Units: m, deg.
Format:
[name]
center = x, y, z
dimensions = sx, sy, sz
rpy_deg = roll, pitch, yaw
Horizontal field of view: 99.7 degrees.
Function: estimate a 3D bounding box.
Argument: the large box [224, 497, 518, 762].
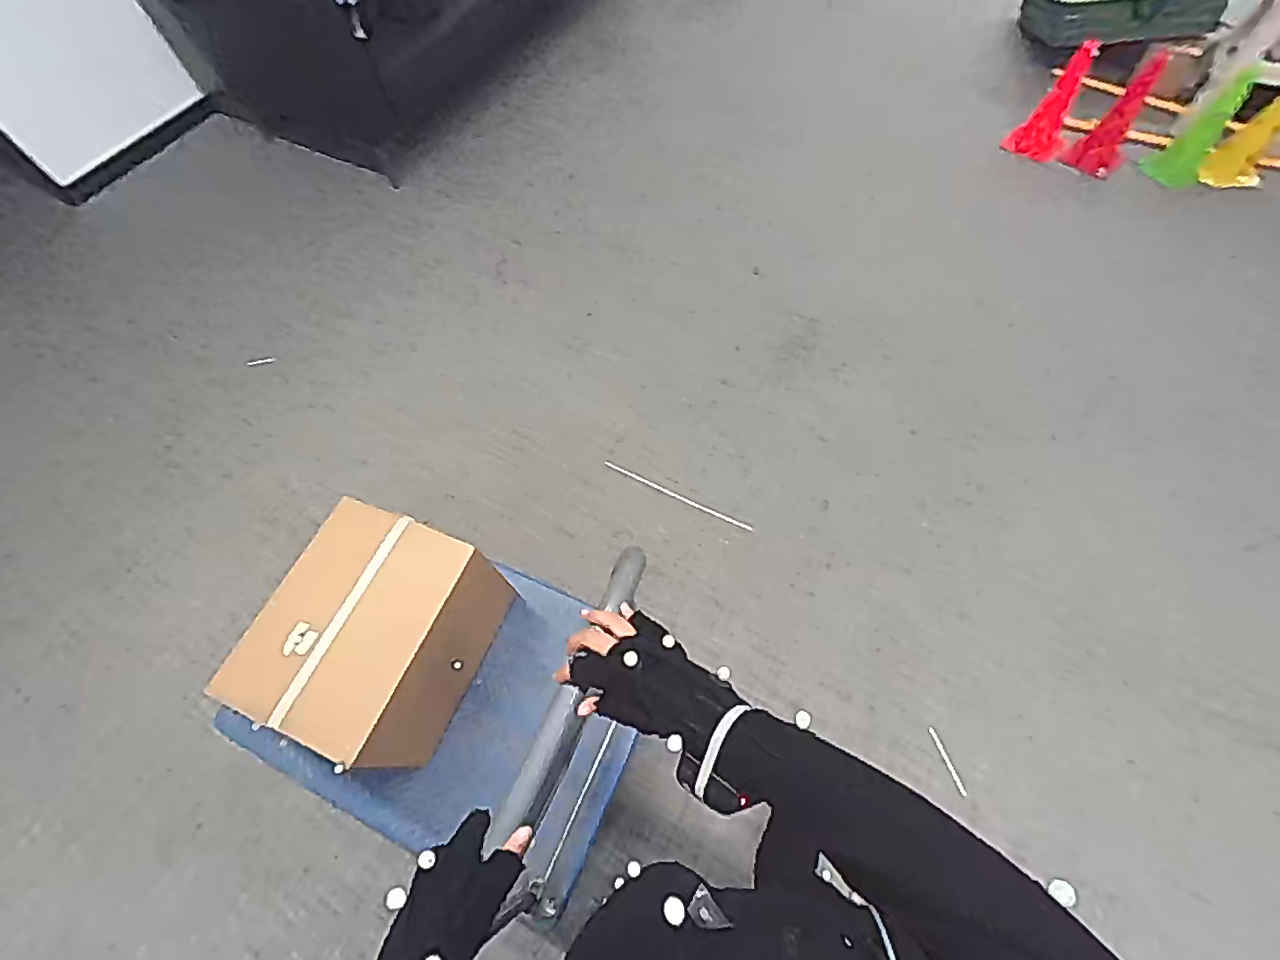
[large box]
center = -0.502, 0.310, 1.115
dimensions = 0.320, 0.320, 0.408
rpy_deg = 19, 65, 13
